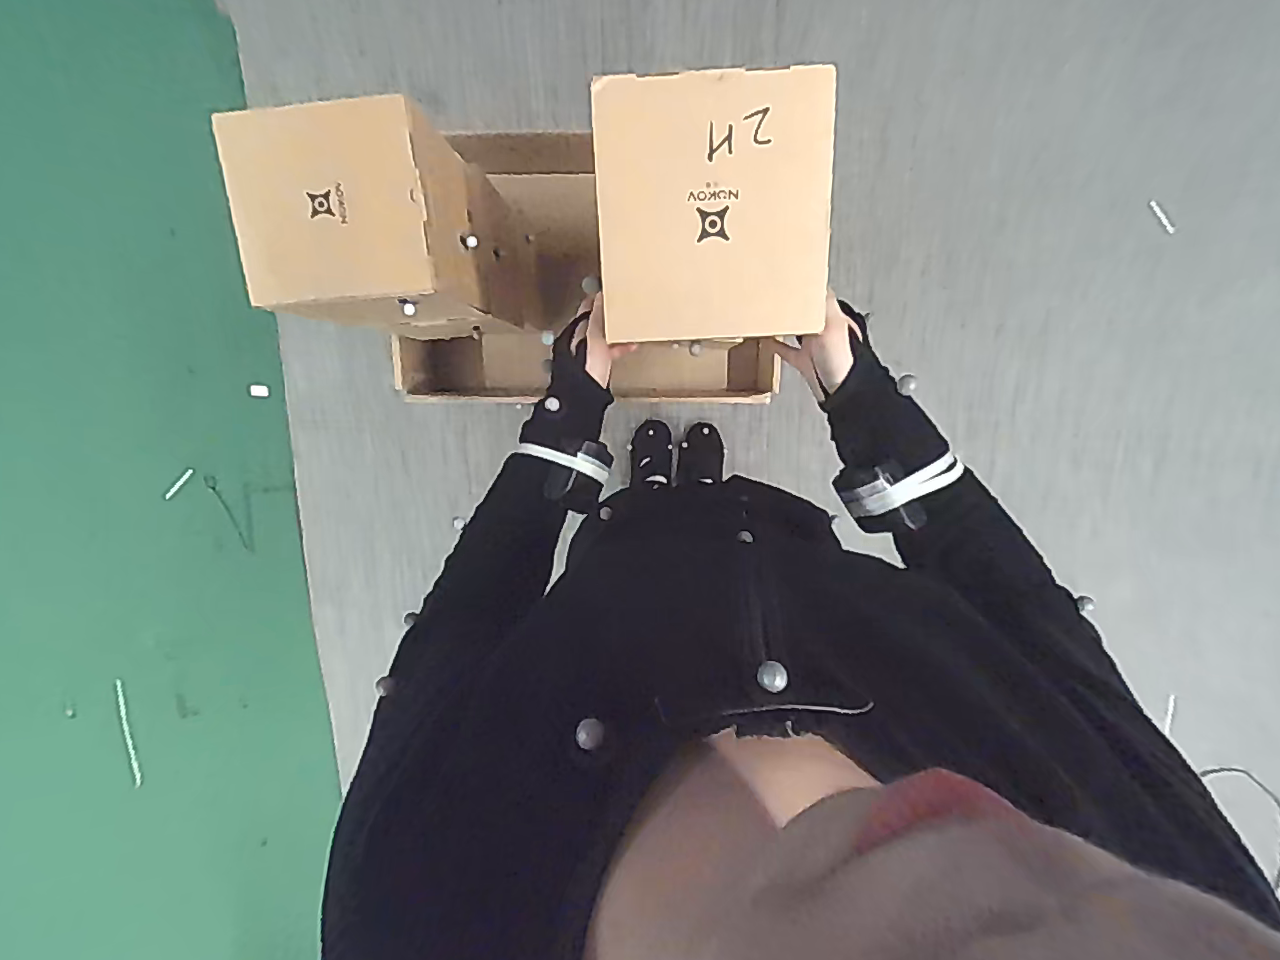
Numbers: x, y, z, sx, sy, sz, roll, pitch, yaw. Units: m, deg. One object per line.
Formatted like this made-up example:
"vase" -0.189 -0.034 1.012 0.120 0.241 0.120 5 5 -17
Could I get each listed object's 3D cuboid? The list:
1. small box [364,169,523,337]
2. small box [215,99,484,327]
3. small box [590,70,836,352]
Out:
"small box" -0.261 -0.287 0.722 0.168 0.176 0.179 -3 100 2
"small box" -0.280 -0.257 0.563 0.179 0.176 0.168 -5 100 1
"small box" 0.051 -0.204 0.455 0.168 0.176 0.179 -2 105 0
